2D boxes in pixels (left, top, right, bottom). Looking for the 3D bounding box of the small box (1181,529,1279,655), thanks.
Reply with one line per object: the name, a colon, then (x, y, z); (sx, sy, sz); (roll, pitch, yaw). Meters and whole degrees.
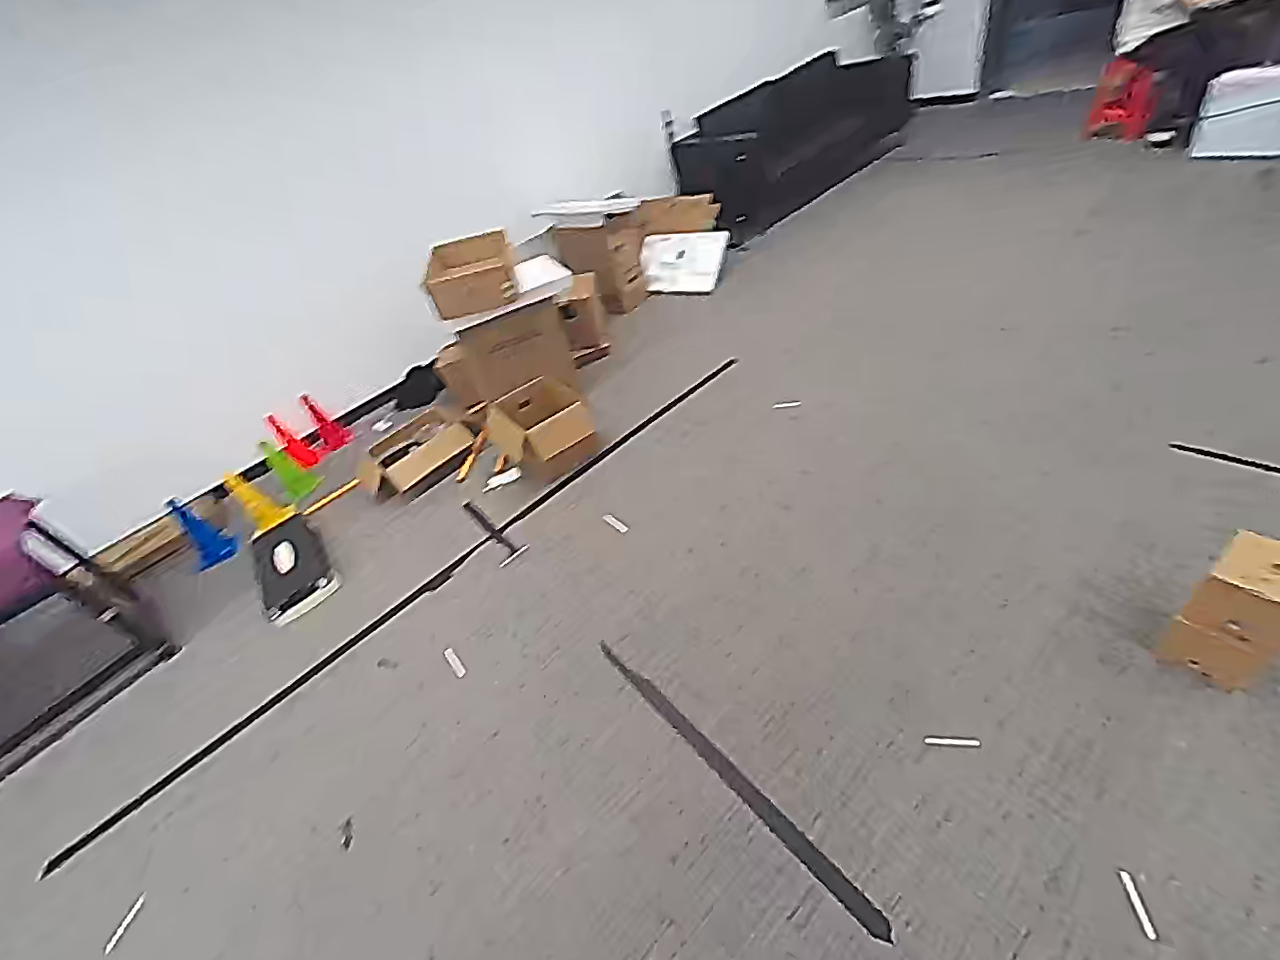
small box: (1.367, 0.248, 1.205); (0.179, 0.176, 0.168); (-36, 41, -19)
